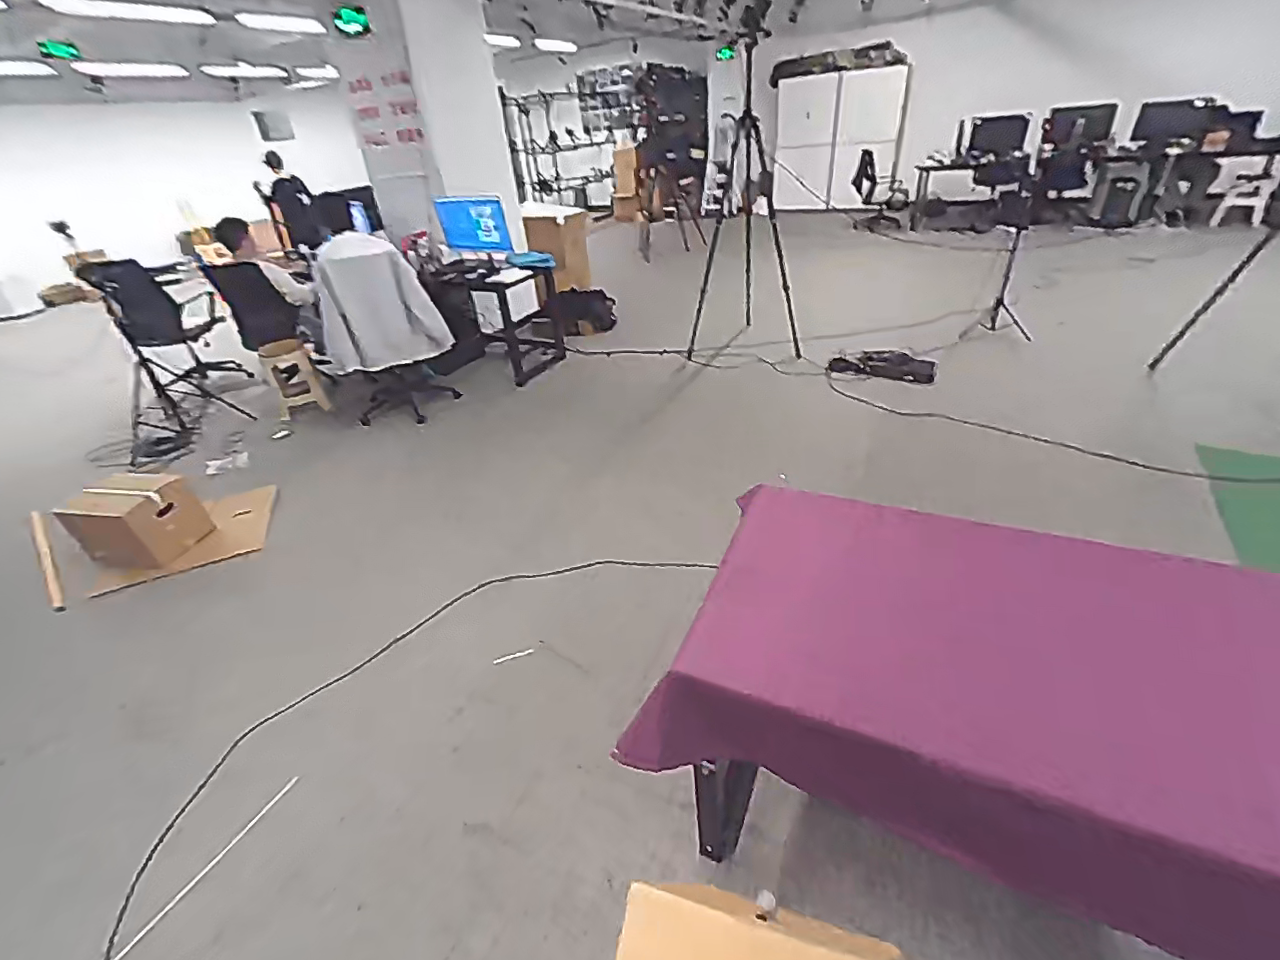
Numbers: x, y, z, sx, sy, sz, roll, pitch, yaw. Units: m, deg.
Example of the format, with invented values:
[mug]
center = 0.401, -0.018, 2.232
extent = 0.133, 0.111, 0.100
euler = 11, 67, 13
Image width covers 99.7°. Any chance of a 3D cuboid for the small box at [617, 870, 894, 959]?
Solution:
[small box]
center = 0.086, 0.415, 0.398
extent = 0.179, 0.176, 0.168
euler = -3, 54, 28
